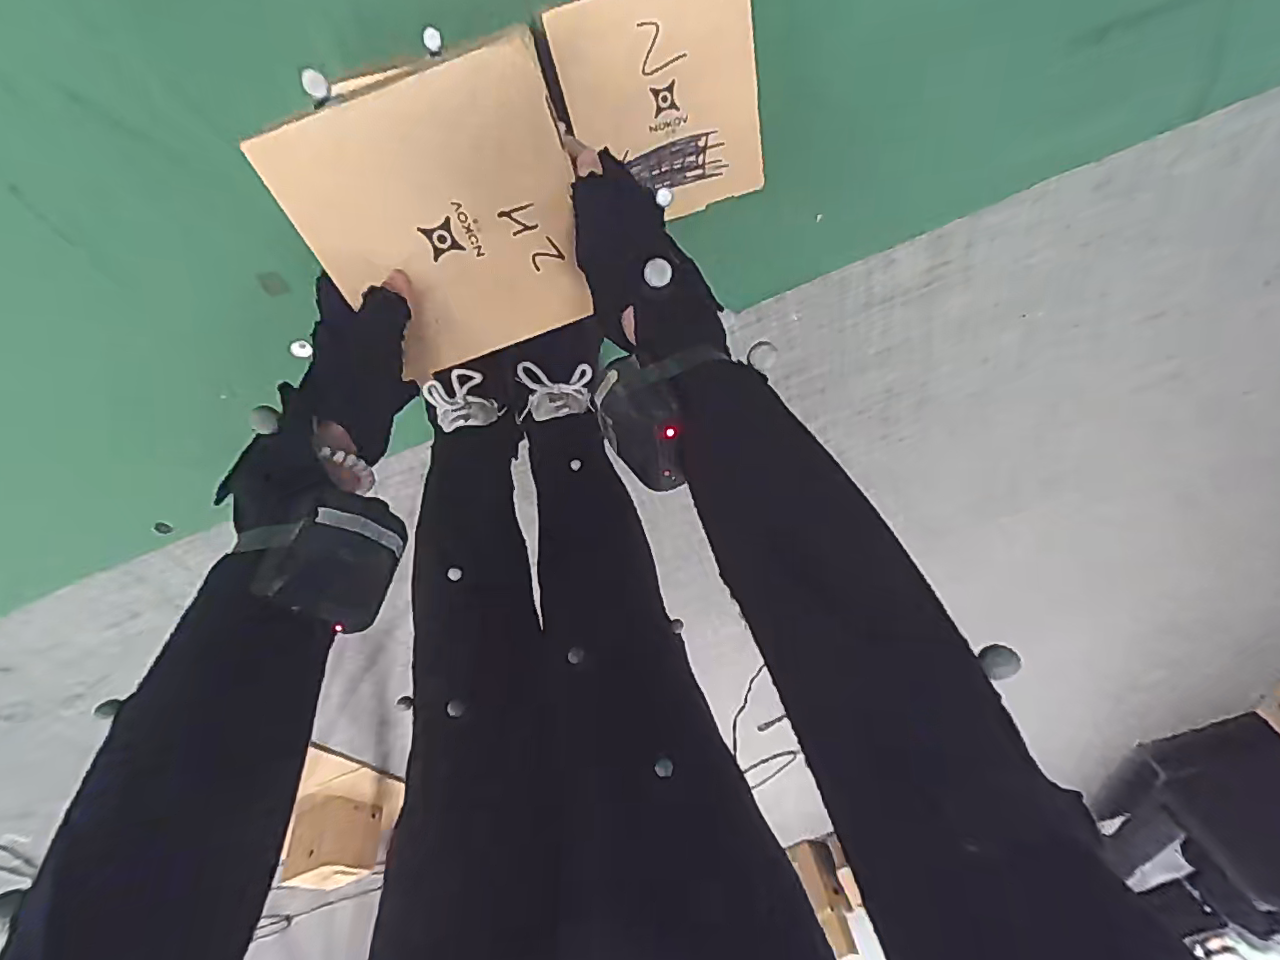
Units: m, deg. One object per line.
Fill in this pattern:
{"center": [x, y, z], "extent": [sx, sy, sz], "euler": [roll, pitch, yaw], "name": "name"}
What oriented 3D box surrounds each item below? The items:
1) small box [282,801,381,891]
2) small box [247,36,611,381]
{"center": [-0.871, 1.046, 1.549], "extent": [0.179, 0.176, 0.168], "euler": [-27, 132, 11], "name": "small box"}
{"center": [-0.137, -0.209, 0.415], "extent": [0.179, 0.176, 0.168], "euler": [-20, 131, 3], "name": "small box"}
